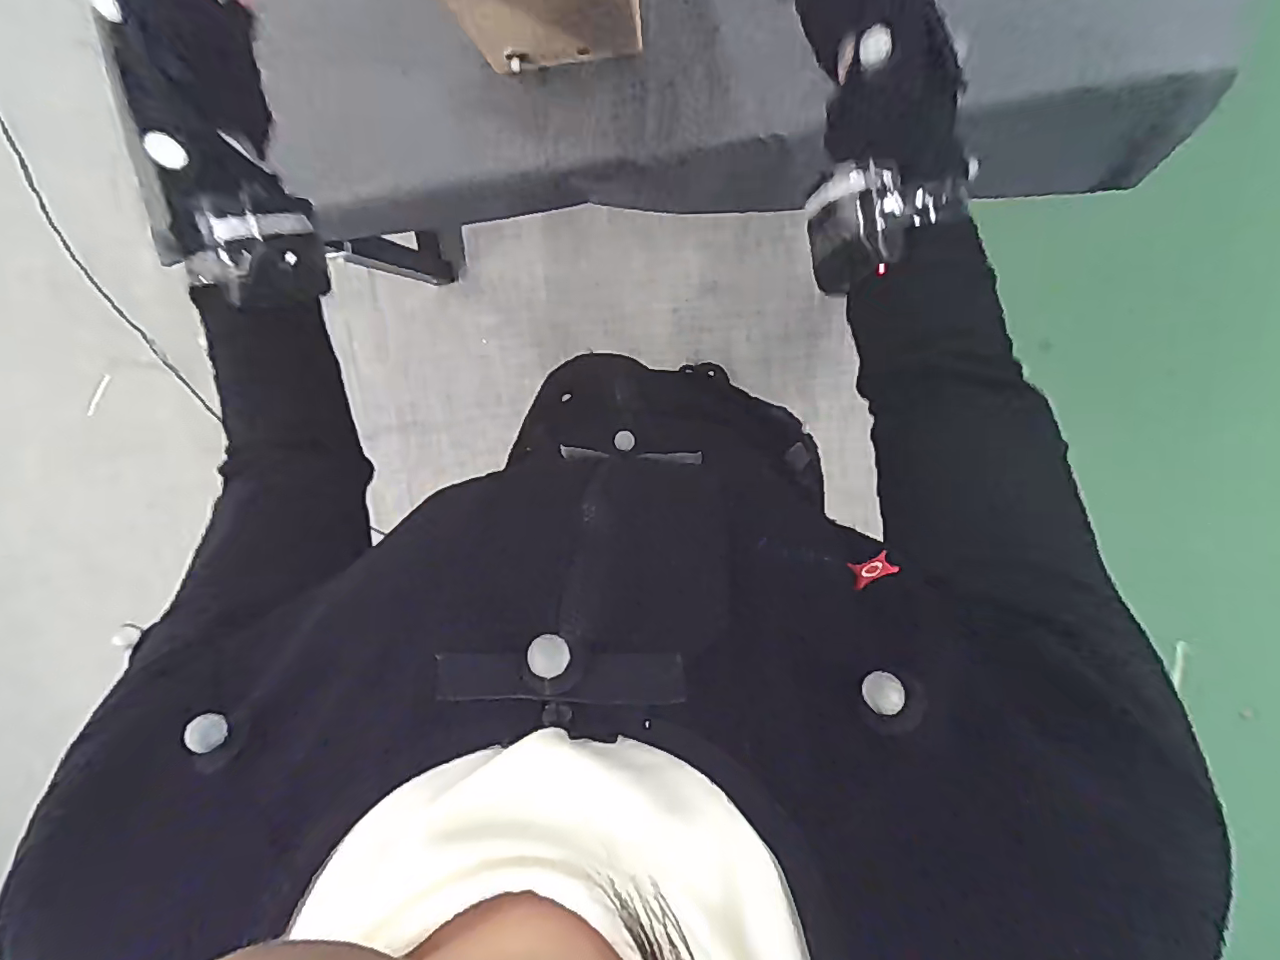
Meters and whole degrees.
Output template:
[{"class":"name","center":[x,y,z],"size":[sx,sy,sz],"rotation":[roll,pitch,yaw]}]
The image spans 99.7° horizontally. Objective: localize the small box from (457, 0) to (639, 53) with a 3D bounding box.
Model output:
[{"class":"small box","center":[-0.094,-0.532,0.497],"size":[0.168,0.176,0.179],"rotation":[-3,102,6]}]
